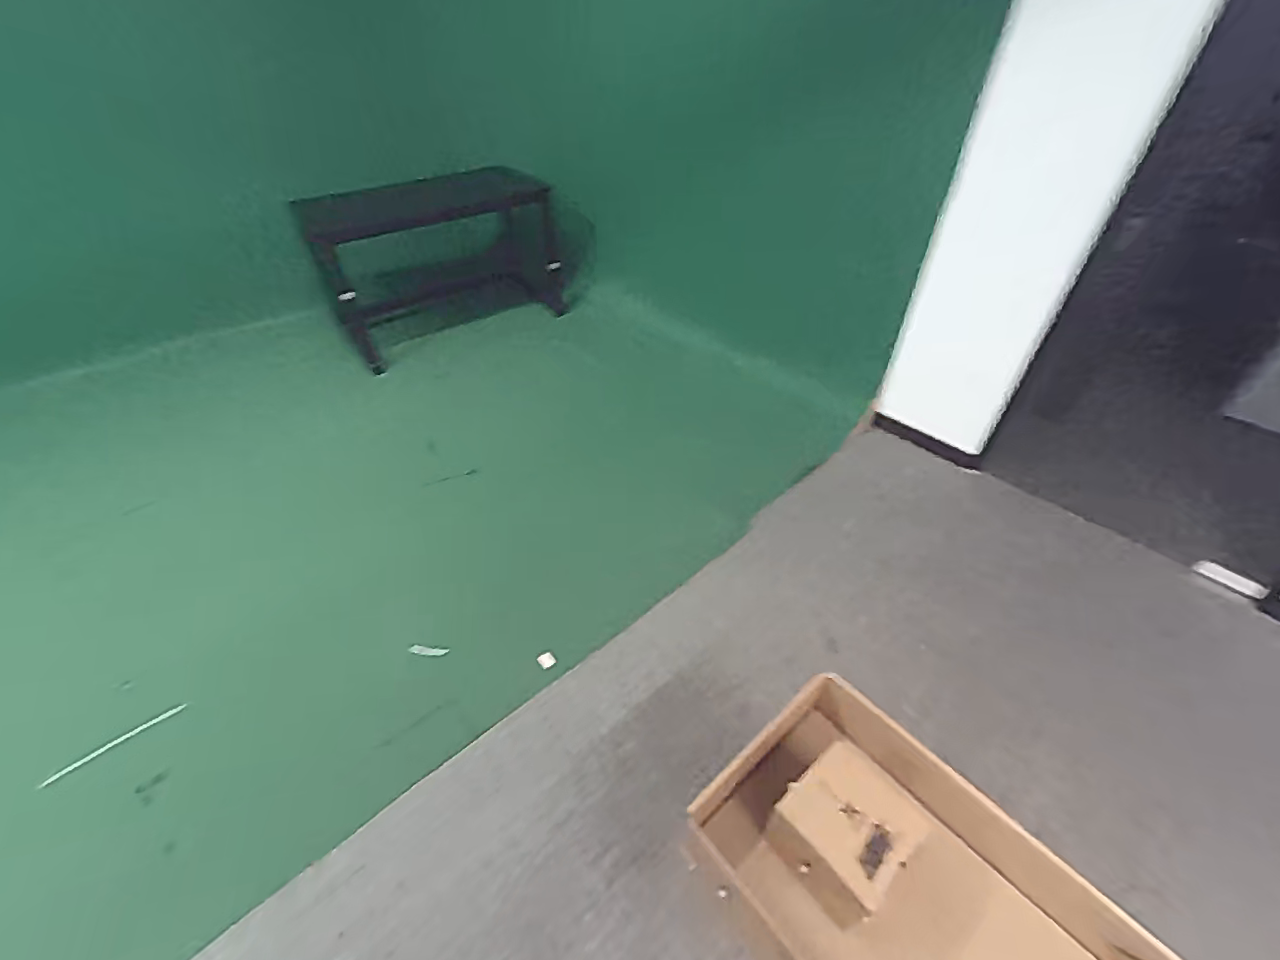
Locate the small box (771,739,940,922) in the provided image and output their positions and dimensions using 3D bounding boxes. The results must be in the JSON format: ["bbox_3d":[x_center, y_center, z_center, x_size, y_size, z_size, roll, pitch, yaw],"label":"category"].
[{"bbox_3d":[0.339,0.573,0.880,0.168,0.176,0.179,-29,49,-27],"label":"small box"}]
